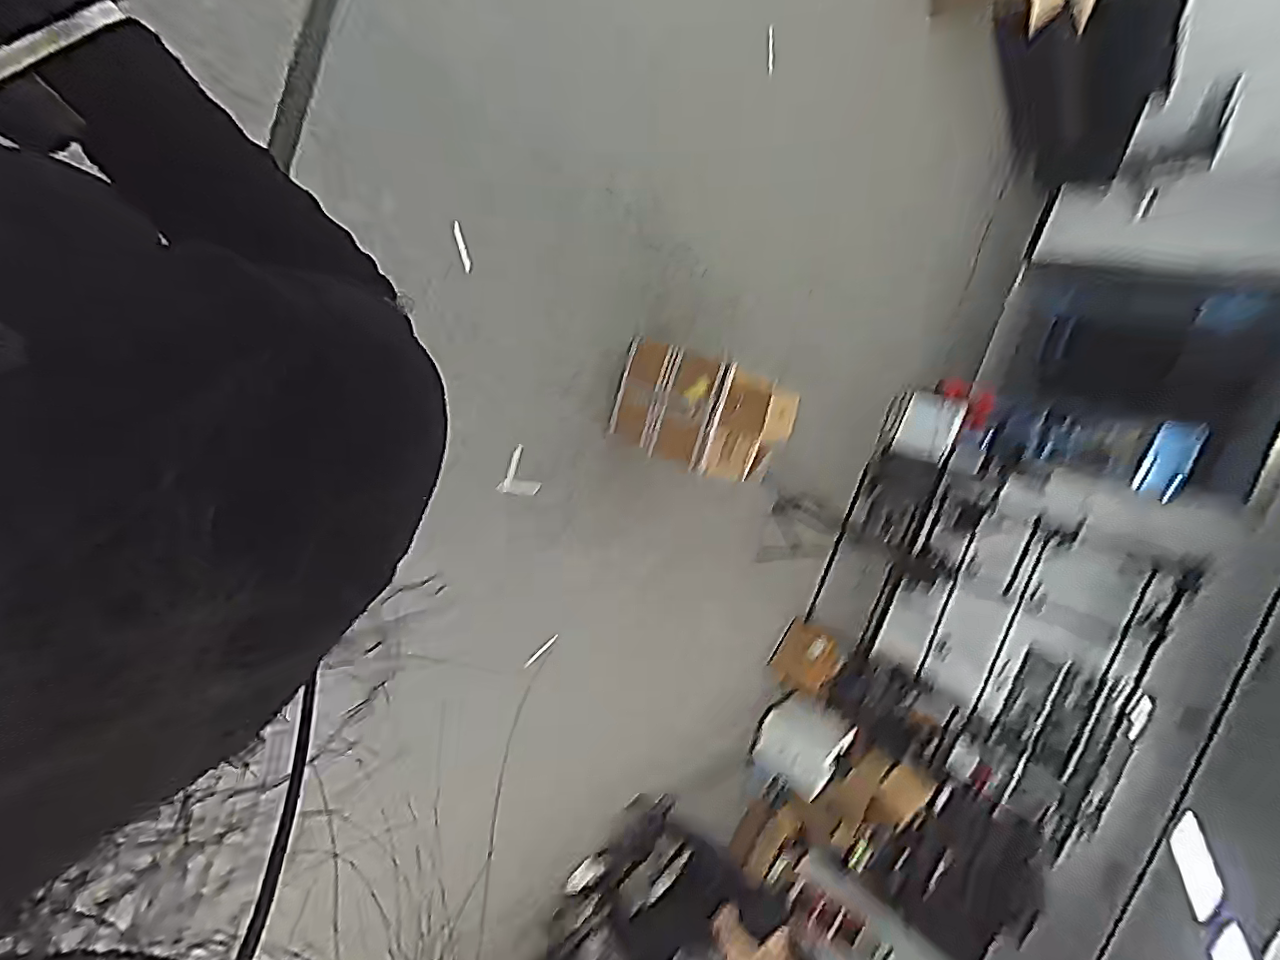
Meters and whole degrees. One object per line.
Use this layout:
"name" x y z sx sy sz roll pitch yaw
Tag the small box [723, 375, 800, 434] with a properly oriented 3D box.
"small box" 0.411 -0.258 1.838 0.179 0.176 0.168 -3 109 -43
